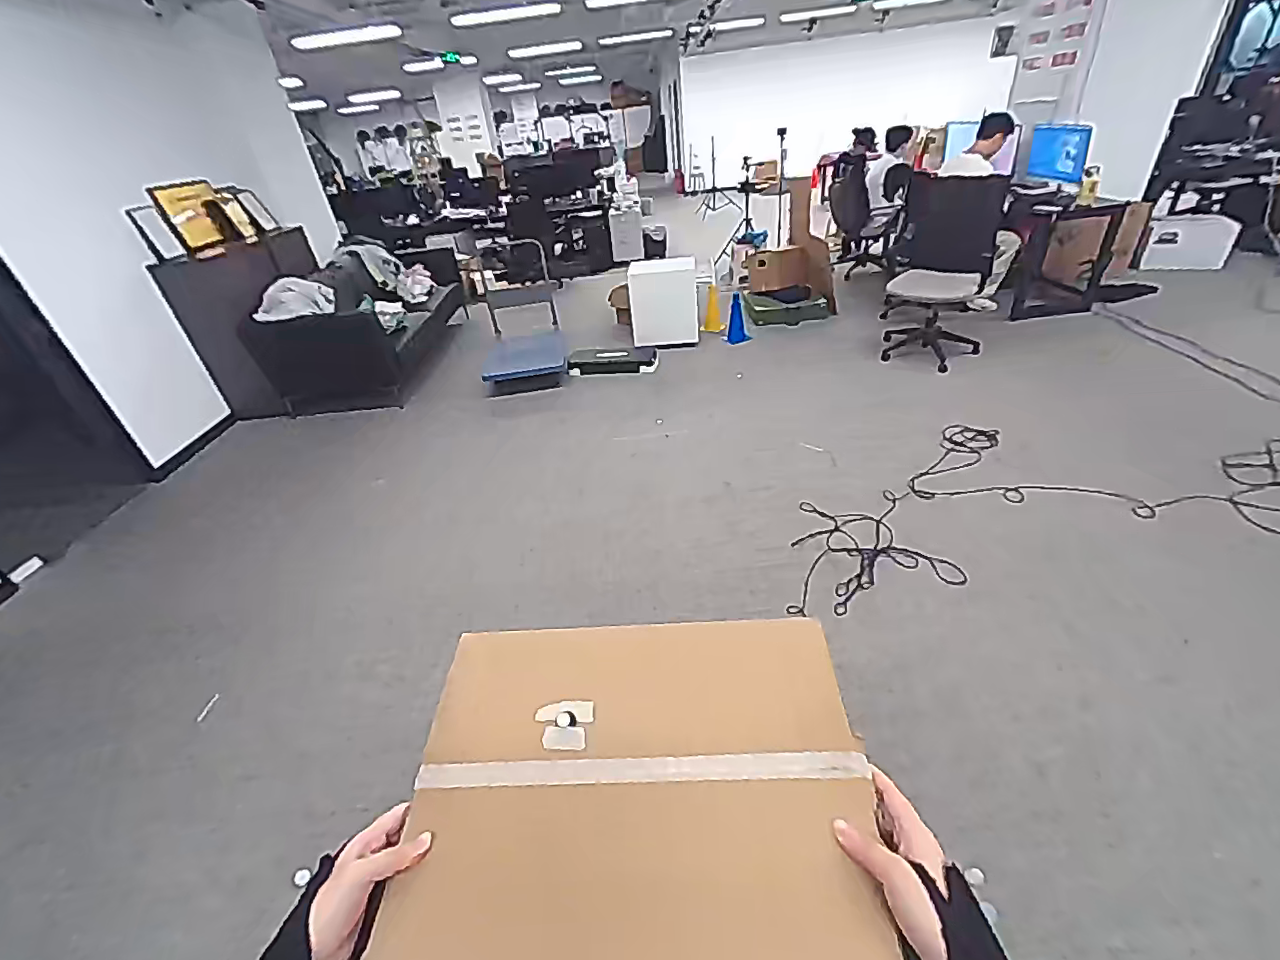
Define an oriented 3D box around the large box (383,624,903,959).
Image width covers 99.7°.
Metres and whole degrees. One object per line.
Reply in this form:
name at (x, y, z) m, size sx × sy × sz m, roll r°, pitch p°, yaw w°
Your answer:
large box at (0.016, 0.389, 0.596) m, size 0.408 × 0.320 × 0.320 m, roll -6°, pitch 40°, yaw 6°
